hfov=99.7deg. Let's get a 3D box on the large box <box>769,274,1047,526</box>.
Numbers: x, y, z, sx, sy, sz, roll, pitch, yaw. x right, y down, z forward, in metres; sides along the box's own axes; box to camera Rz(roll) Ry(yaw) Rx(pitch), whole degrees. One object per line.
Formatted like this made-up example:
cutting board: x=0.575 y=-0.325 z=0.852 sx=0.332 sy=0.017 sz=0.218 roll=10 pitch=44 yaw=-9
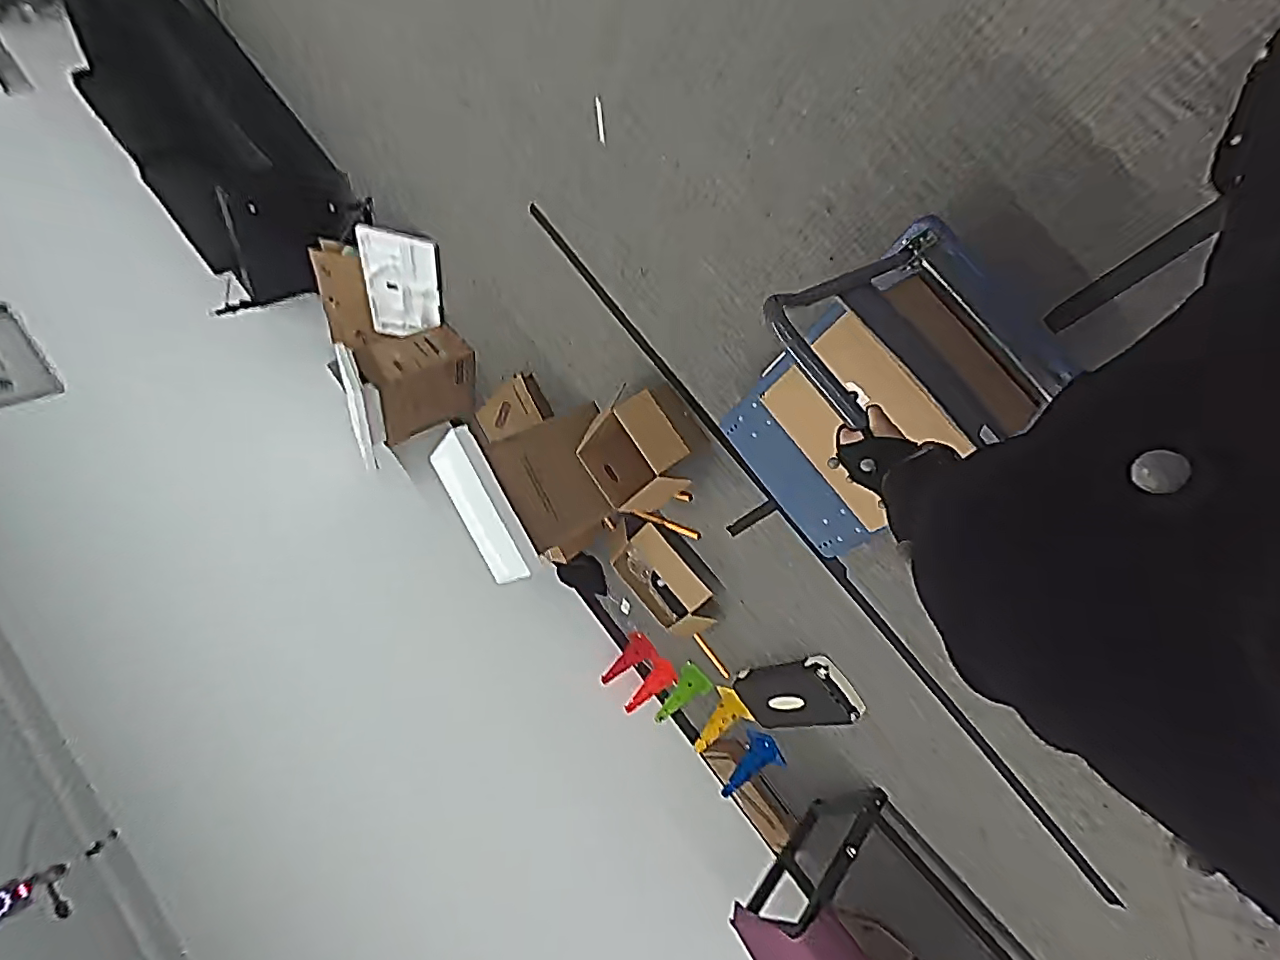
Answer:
large box: x=0.585 y=-0.179 z=1.209 sx=0.408 sy=0.320 sz=0.320 roll=53 pitch=145 yaw=9
